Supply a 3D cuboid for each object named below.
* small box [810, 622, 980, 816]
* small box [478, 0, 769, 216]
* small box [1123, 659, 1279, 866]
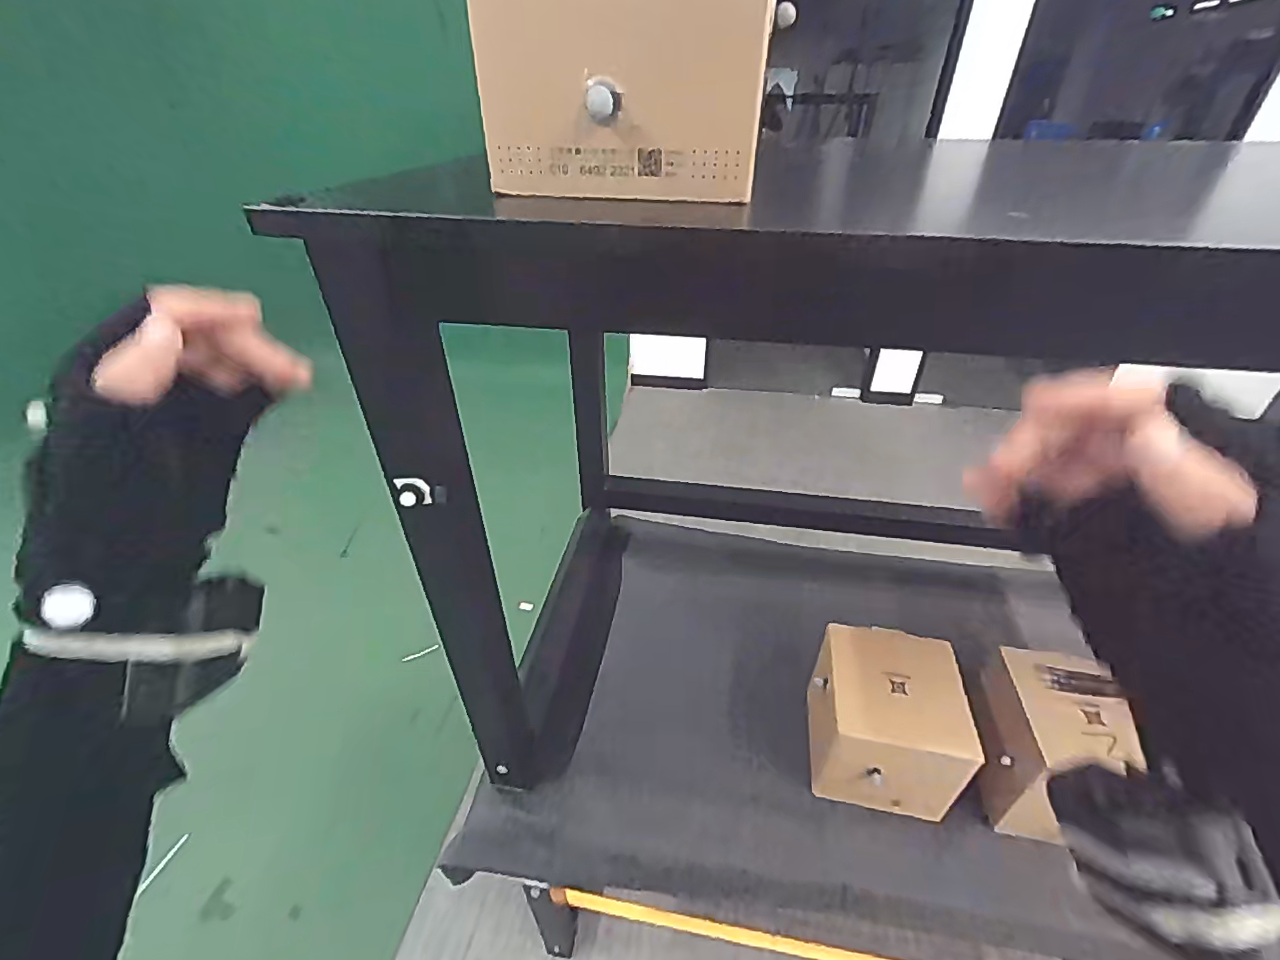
[{"bbox_3d":[0.336,0.330,0.751,0.168,0.176,0.179,7,36,10],"label":"small box"},{"bbox_3d":[-0.002,-0.289,0.363,0.168,0.176,0.179,6,37,9],"label":"small box"},{"bbox_3d":[0.783,0.365,0.691,0.168,0.176,0.179,8,36,11],"label":"small box"}]
